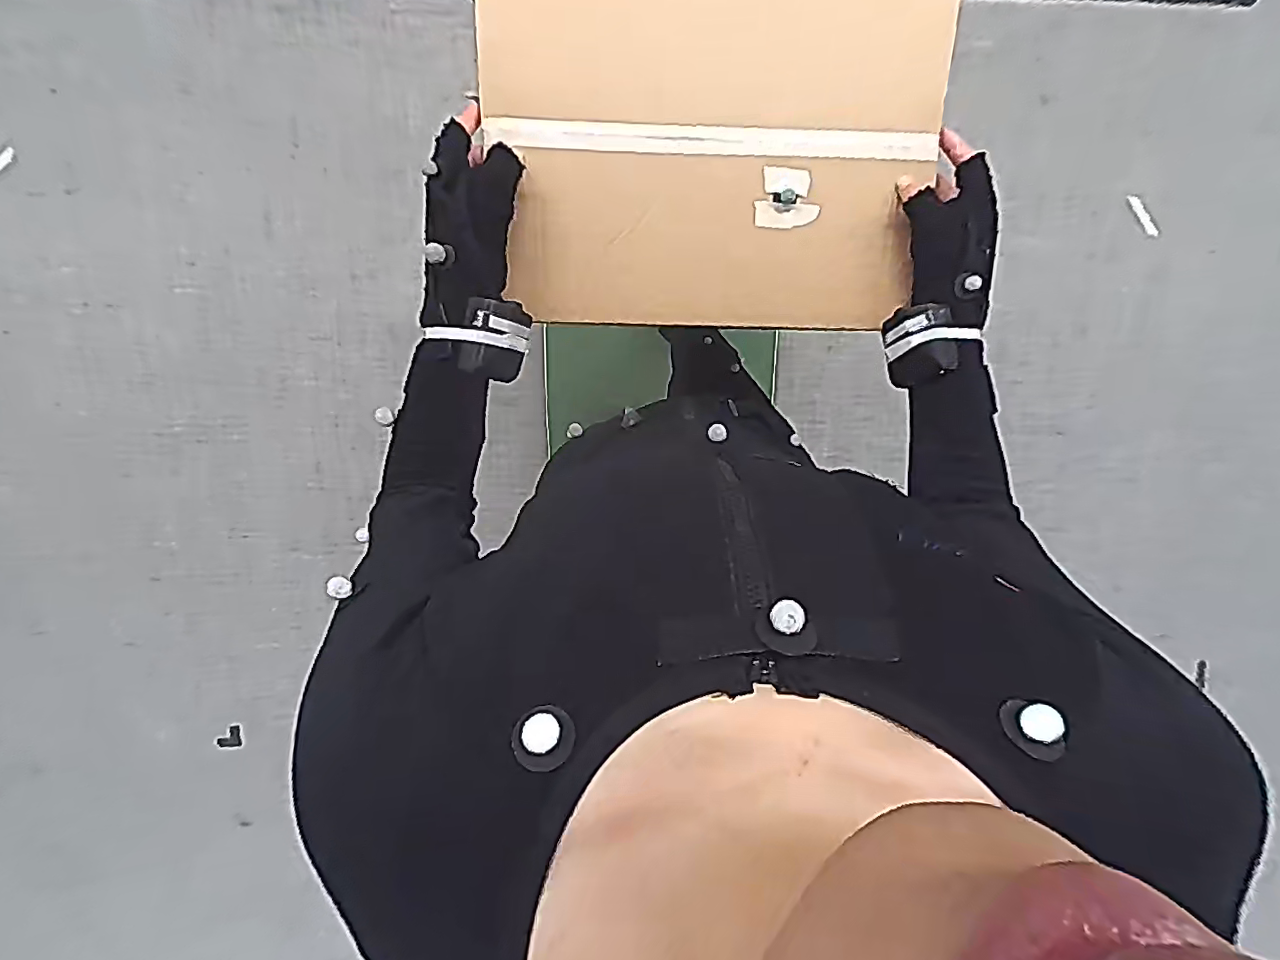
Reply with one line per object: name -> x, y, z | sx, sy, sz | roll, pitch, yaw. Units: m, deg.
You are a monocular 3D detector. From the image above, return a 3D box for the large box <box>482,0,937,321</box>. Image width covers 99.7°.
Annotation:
large box -> 0.054, -0.354, 0.637 | 0.408, 0.320, 0.320 | 0, 106, -4
